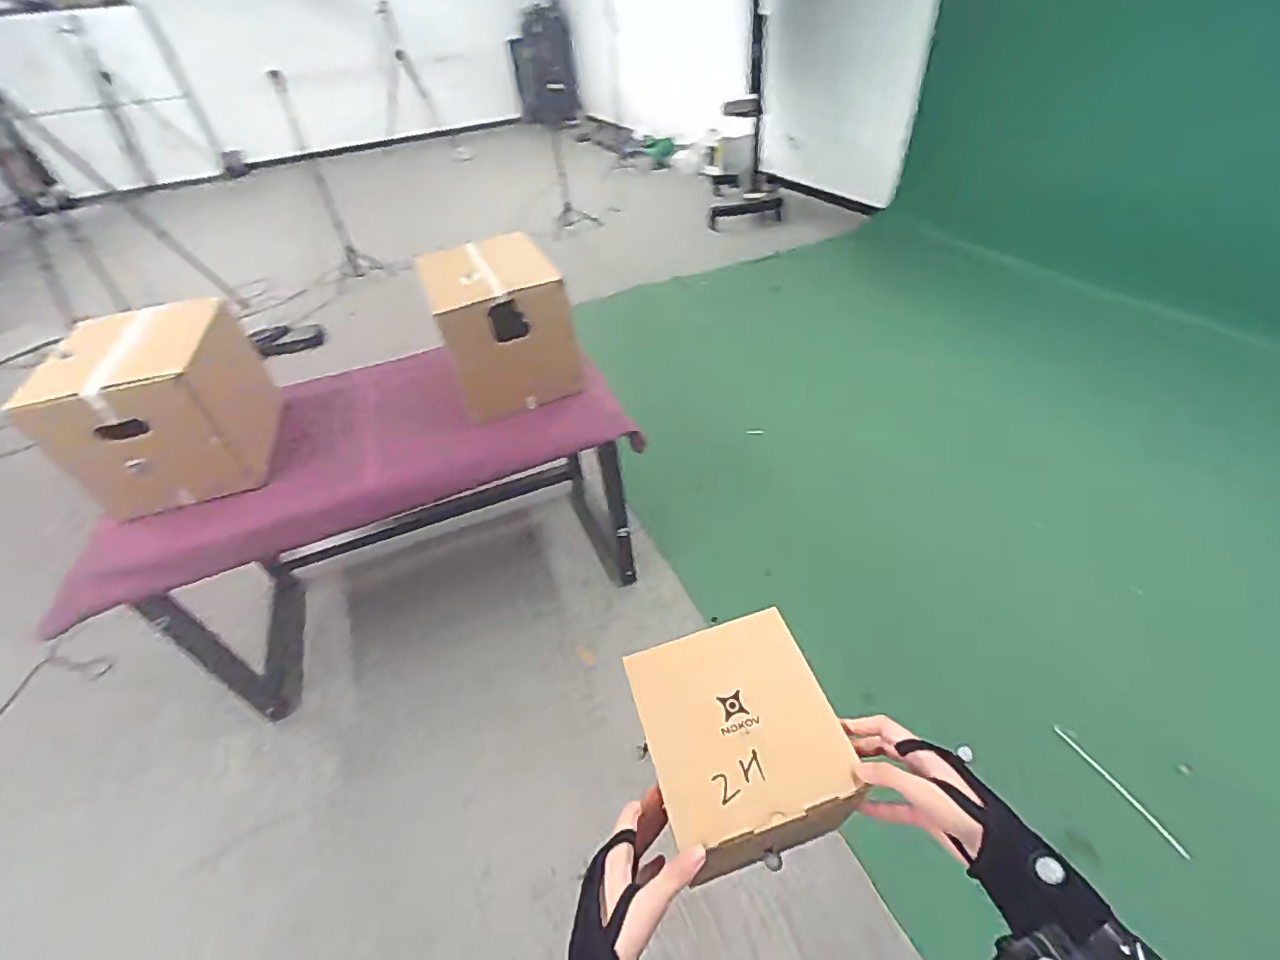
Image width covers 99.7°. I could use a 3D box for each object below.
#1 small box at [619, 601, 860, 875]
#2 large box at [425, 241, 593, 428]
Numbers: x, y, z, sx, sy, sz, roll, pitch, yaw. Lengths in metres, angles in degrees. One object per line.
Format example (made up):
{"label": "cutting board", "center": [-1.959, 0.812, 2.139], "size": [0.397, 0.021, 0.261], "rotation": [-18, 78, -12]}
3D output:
{"label": "small box", "center": [0.086, 0.257, 0.541], "size": [0.168, 0.176, 0.179], "rotation": [-17, 47, -7]}
{"label": "large box", "center": [-0.353, -0.404, 1.467], "size": [0.320, 0.320, 0.408], "rotation": [-21, 44, -13]}
